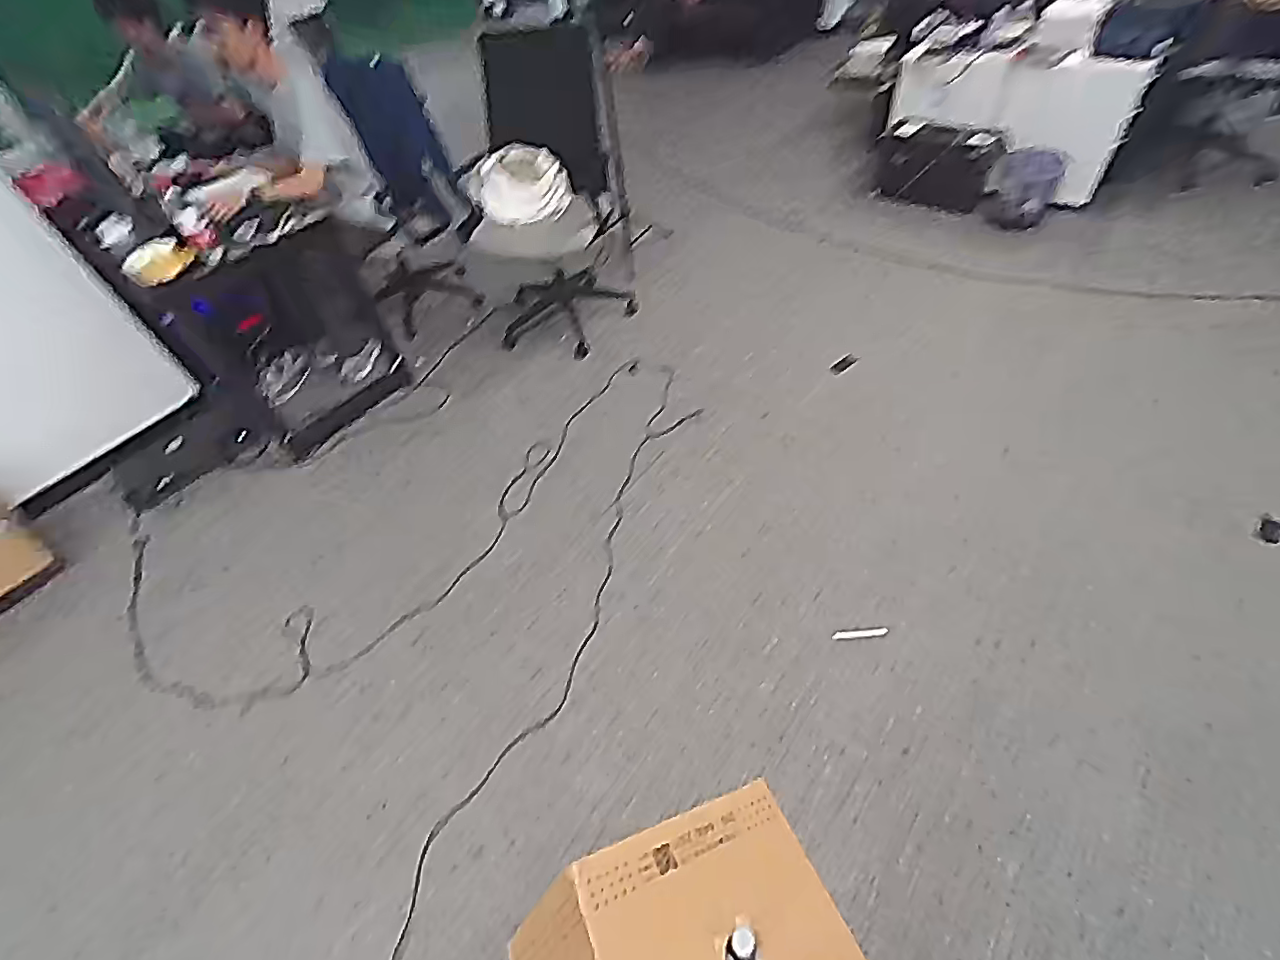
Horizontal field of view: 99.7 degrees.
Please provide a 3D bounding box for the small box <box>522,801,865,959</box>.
[{"bbox_3d":[0.035,0.346,0.358,0.168,0.179,0.176,-2,42,-33],"label":"small box"}]
